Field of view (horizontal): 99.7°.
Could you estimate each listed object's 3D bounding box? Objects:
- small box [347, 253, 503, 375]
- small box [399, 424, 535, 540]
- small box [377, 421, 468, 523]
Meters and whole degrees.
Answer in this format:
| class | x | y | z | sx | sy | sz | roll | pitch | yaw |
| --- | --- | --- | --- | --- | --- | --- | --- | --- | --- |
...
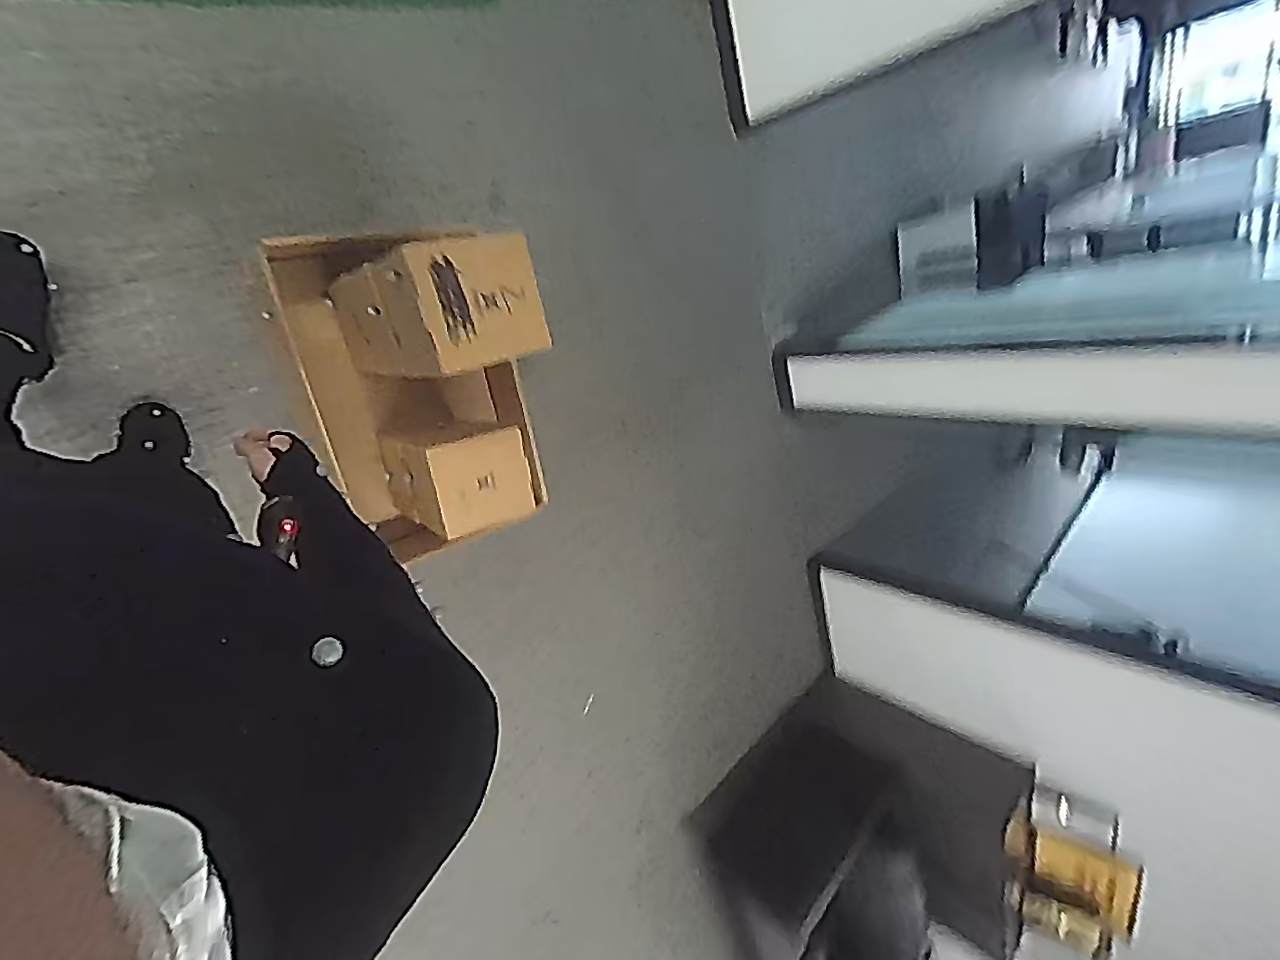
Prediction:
| class | x | y | z | sx | sy | sz | roll | pitch | yaw |
| --- | --- | --- | --- | --- | --- | --- | --- | --- | --- |
| small box | -0.367 | -0.281 | 0.924 | 0.179 | 0.176 | 0.168 | -26 | 114 | -35 |
| small box | -0.325 | -0.007 | 1.017 | 0.179 | 0.176 | 0.168 | -19 | 110 | -36 |
| small box | -0.427 | -0.026 | 1.141 | 0.179 | 0.176 | 0.168 | -19 | 110 | -36 |
